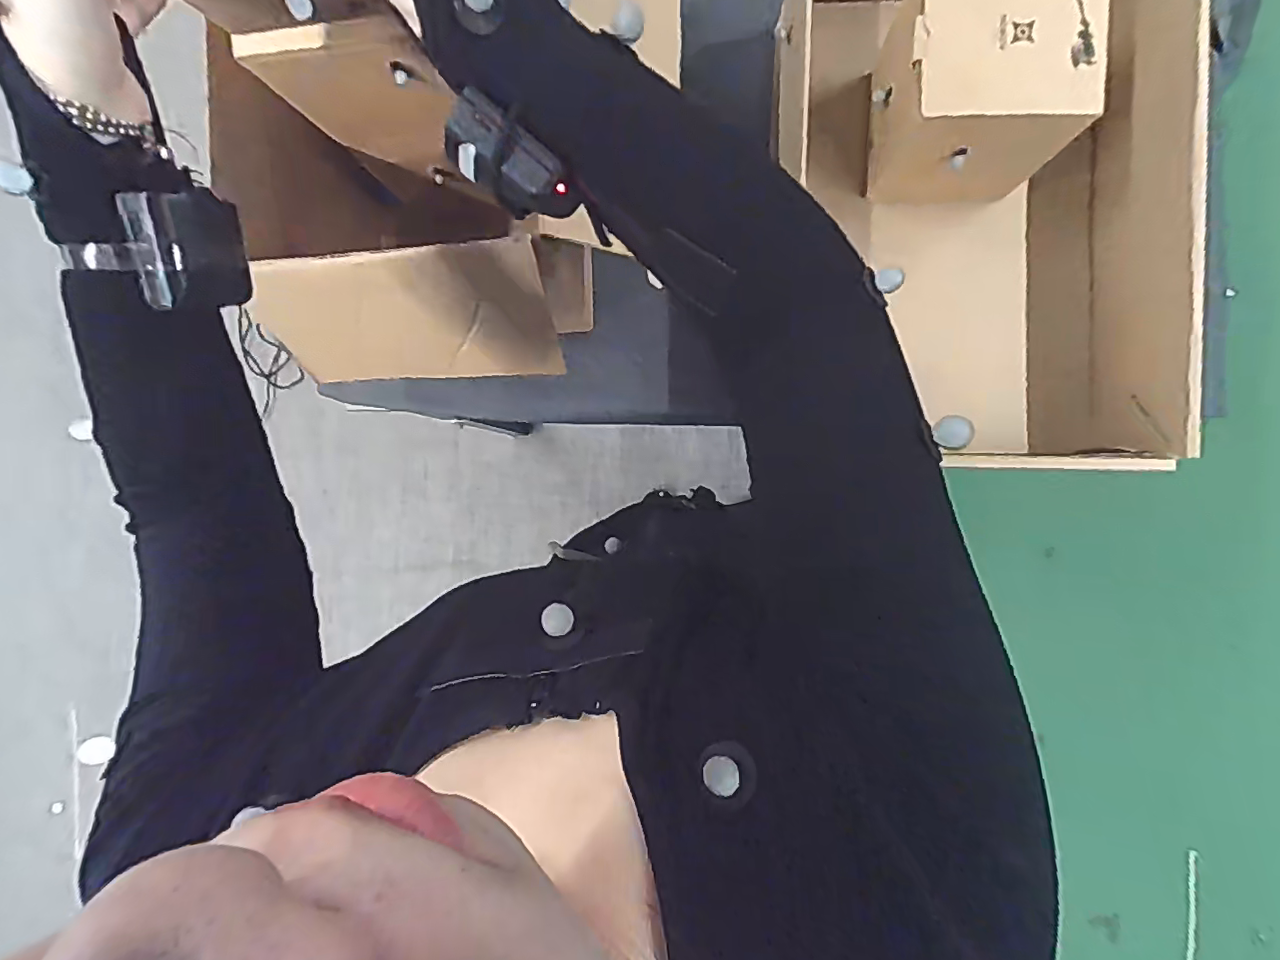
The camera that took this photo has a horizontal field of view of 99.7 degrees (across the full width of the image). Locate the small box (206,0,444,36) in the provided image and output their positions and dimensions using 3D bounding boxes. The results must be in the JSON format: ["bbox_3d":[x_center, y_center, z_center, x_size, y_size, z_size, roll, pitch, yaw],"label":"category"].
[{"bbox_3d":[-0.227,-0.395,0.301,0.168,0.176,0.179,-8,110,0],"label":"small box"}]

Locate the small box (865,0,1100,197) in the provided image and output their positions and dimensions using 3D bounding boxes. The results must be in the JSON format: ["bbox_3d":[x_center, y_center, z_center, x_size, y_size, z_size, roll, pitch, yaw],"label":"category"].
[{"bbox_3d":[0.369,-0.442,0.614,0.179,0.176,0.168,2,93,6],"label":"small box"}]
